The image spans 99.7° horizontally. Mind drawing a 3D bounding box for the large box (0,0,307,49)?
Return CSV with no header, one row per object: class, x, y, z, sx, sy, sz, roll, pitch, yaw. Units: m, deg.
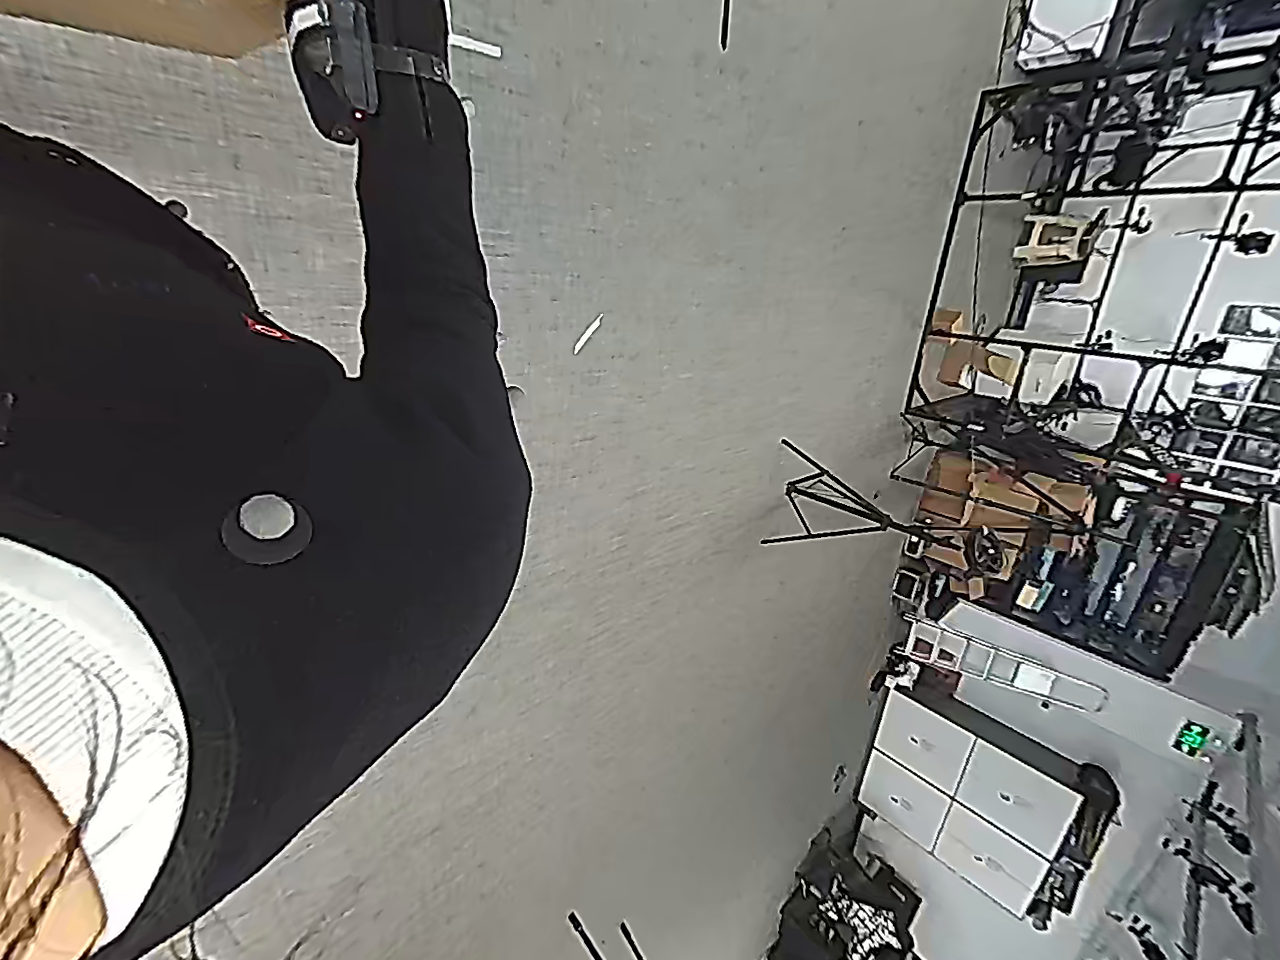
large box,-0.431,-0.441,0.239,0.408,0.320,0.320,-19,127,-39
